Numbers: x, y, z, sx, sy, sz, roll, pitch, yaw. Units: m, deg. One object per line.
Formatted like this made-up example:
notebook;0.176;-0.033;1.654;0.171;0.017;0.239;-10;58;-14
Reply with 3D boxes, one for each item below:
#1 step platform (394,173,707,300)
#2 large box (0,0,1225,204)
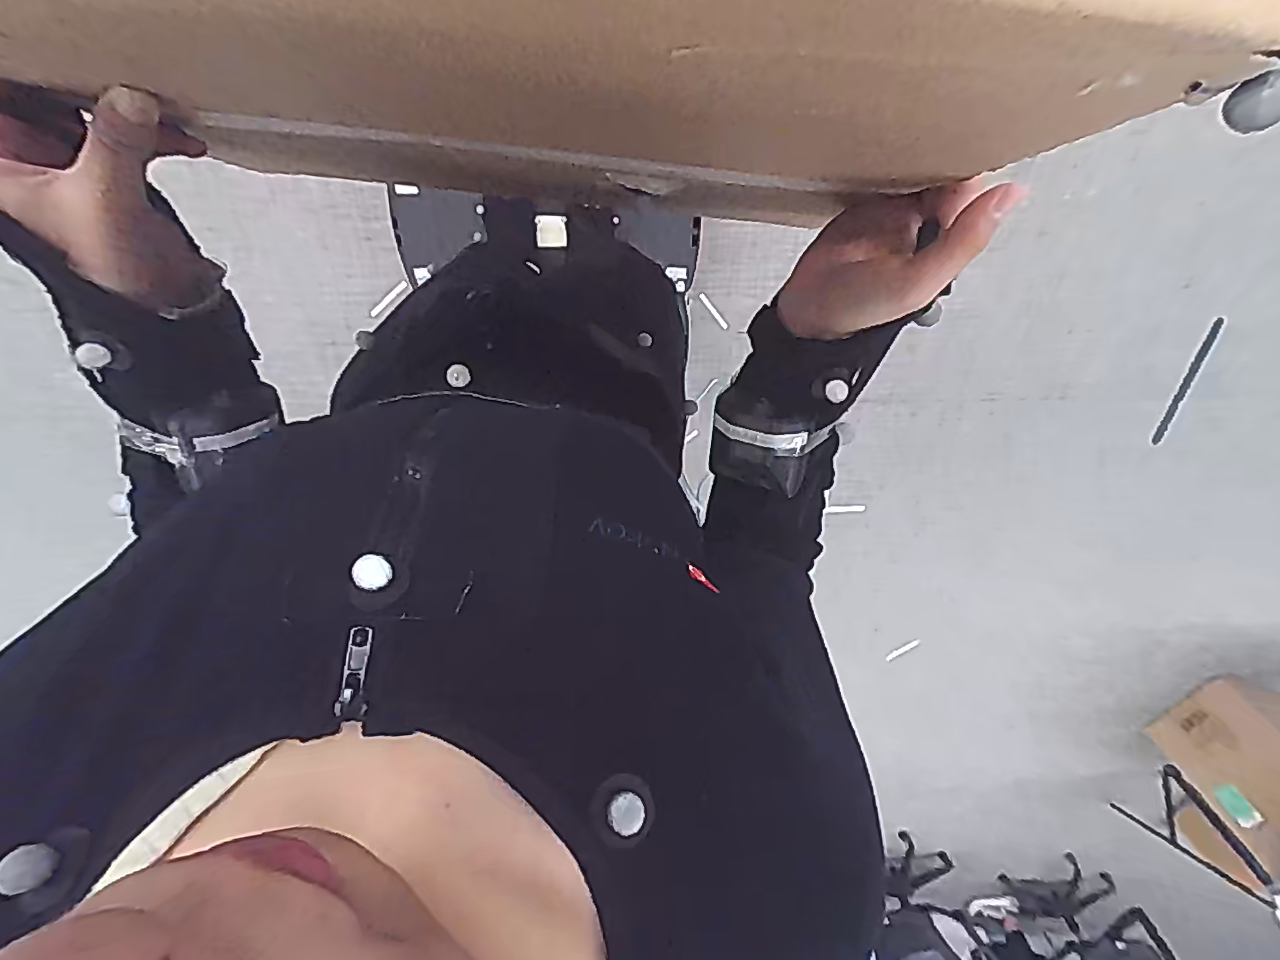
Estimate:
step platform;-0.191;-0.594;1.238;0.684;0.204;0.286;3;123;-4
large box;-0.062;-0.304;0.193;0.408;0.320;0.320;2;110;-4
